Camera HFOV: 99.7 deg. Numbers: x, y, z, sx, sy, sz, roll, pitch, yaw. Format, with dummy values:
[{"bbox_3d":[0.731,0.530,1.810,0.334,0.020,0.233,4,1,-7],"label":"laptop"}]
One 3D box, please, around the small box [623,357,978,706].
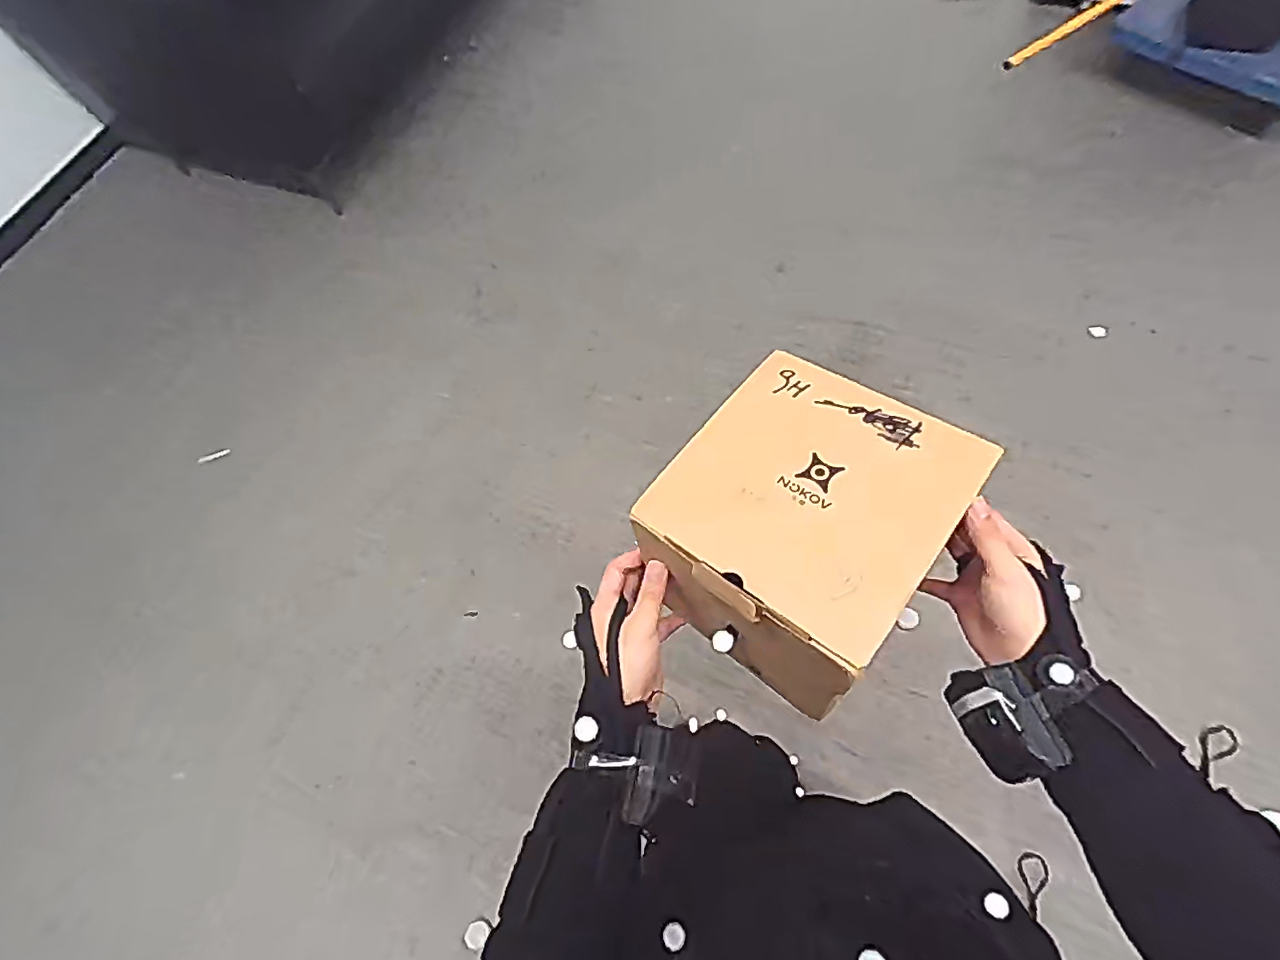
[{"bbox_3d":[0.116,0.046,0.420,0.168,0.176,0.179,33,70,27],"label":"small box"}]
